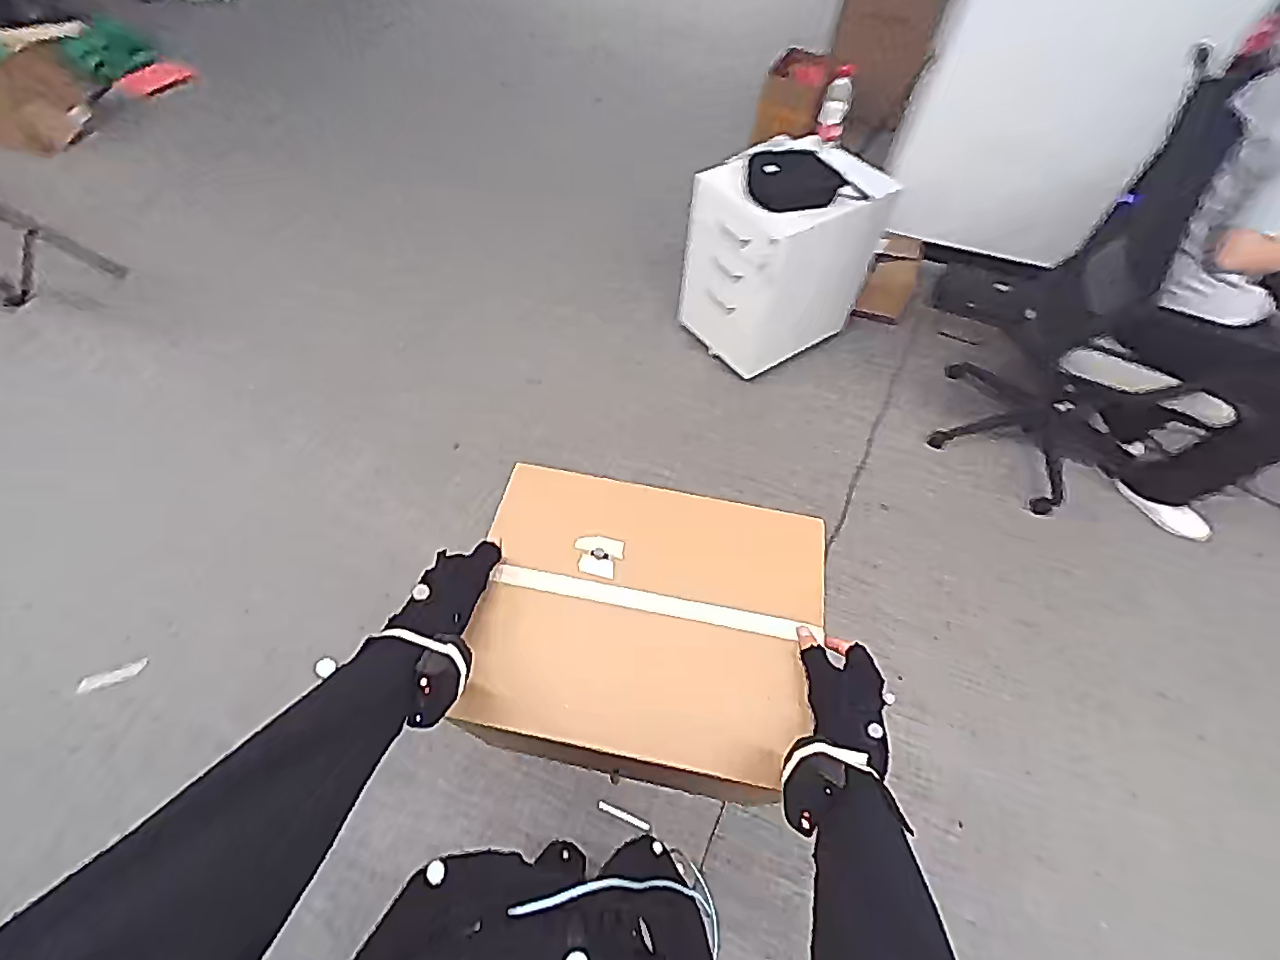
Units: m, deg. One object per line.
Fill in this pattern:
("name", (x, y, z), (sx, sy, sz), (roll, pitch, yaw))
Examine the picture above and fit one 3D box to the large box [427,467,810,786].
("large box", (-0.005, 0.217, 0.755), (0.408, 0.320, 0.320), (10, 58, 5))
